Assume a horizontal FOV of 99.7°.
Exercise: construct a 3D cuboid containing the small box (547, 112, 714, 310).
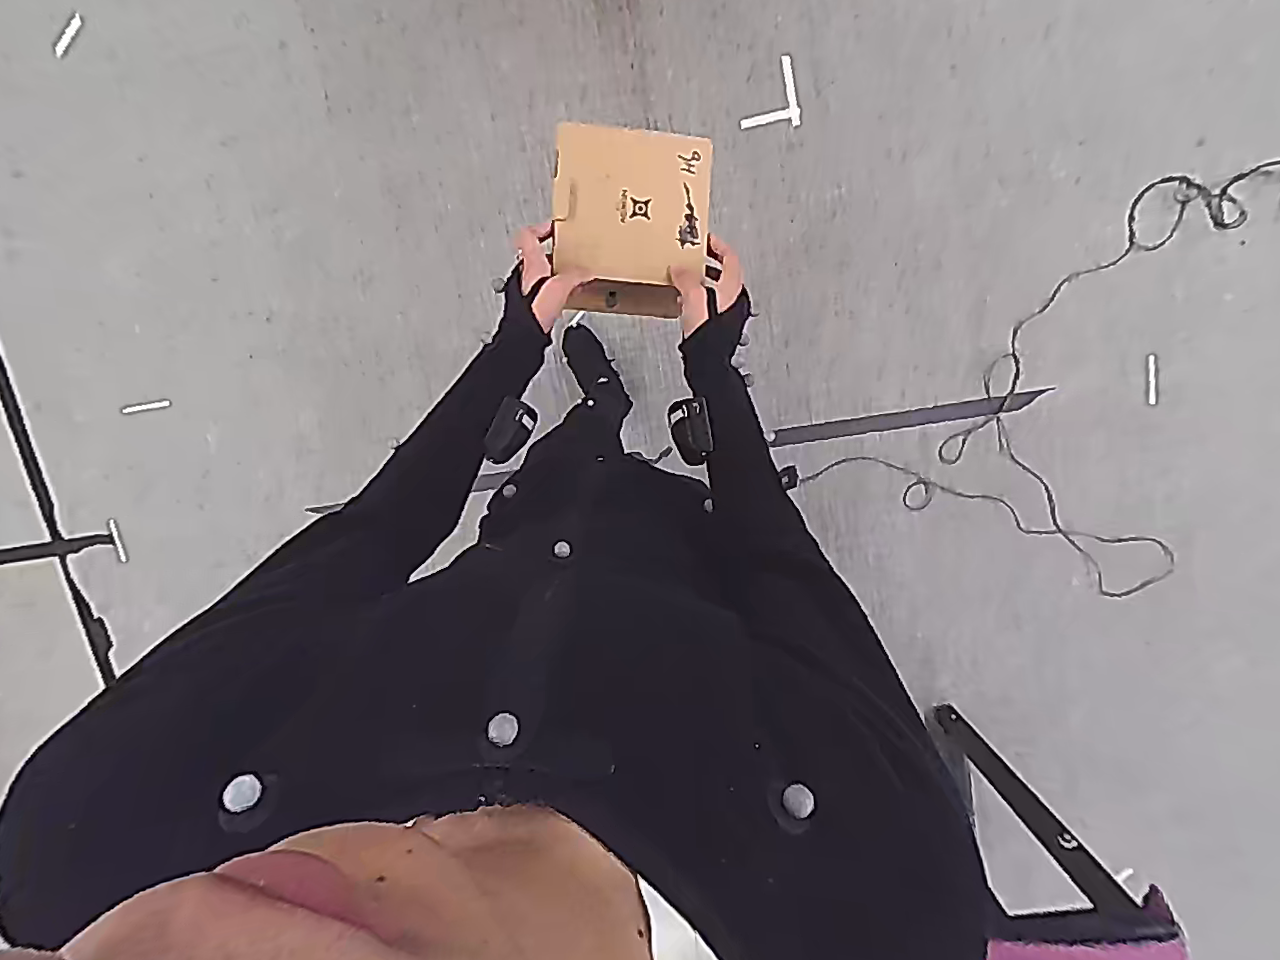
[{"bbox_3d":[-0.017,-0.317,0.674,0.179,0.176,0.168,3,96,-6],"label":"small box"}]
